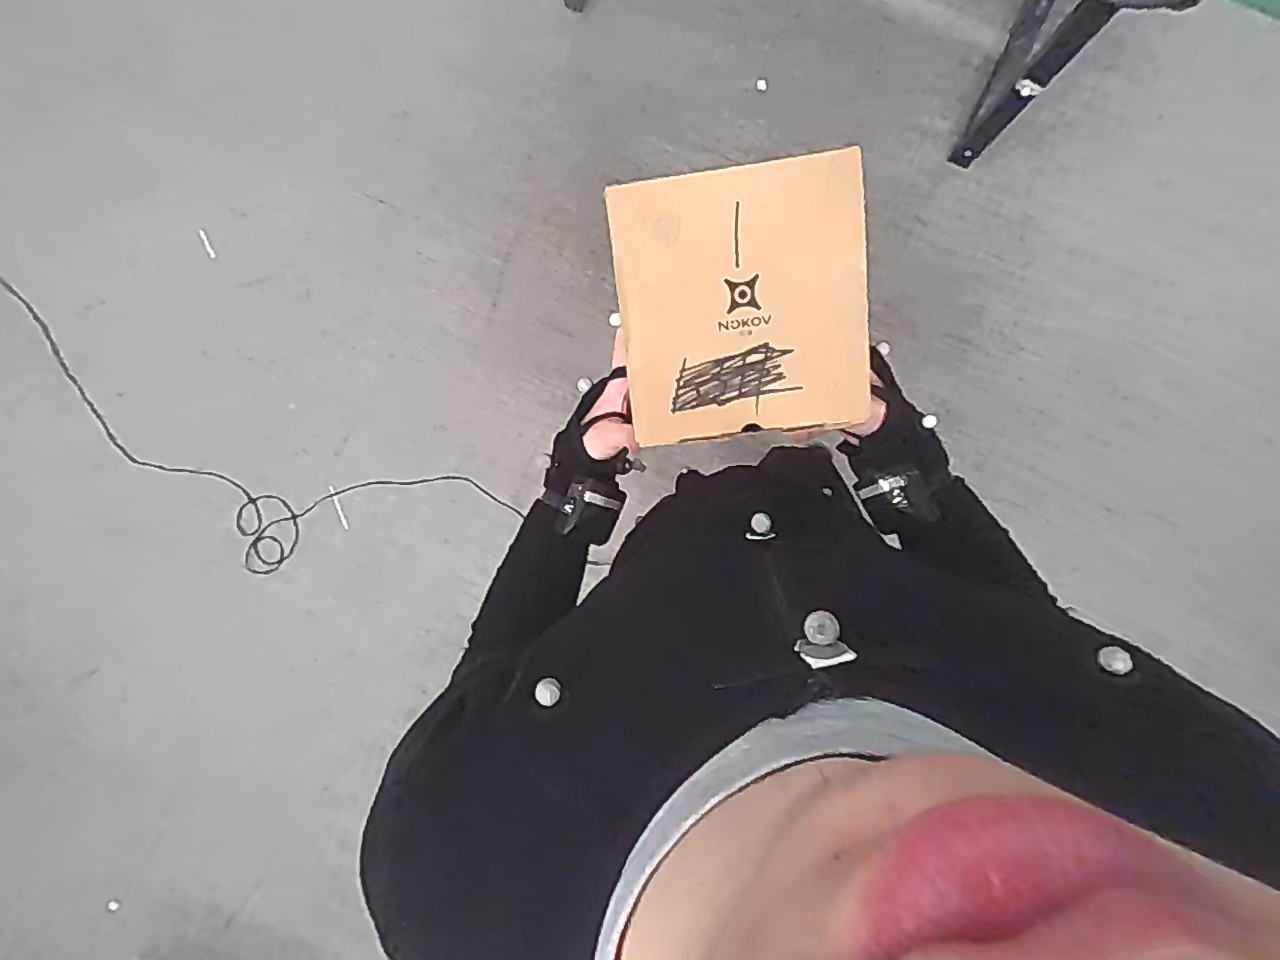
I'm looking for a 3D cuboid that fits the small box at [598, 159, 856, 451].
[{"bbox_3d":[0.068,-0.131,0.445,0.168,0.176,0.179,-6,103,5],"label":"small box"}]
